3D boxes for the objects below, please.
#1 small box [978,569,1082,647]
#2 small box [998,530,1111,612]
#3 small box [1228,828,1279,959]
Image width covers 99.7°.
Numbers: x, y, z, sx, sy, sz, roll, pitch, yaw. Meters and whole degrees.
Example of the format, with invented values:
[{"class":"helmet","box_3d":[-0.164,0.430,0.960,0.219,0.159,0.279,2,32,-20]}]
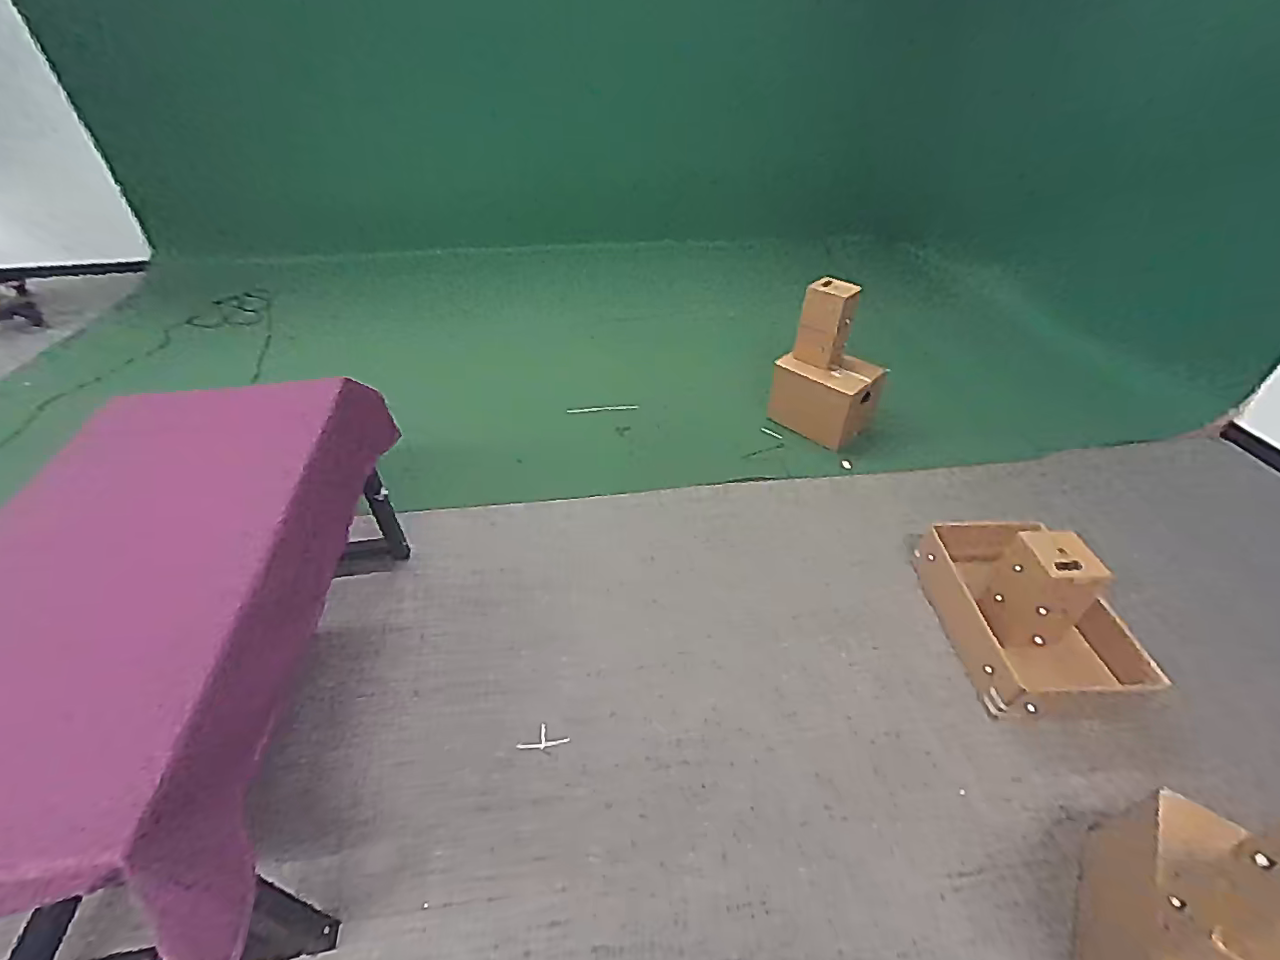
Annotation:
[{"class":"small box","box_3d":[1.184,0.391,1.660,0.168,0.176,0.179,-2,40,0]},{"class":"small box","box_3d":[1.180,0.265,1.555,0.168,0.176,0.179,-1,39,0]},{"class":"small box","box_3d":[0.977,0.617,0.752,0.168,0.176,0.179,27,47,33]}]
